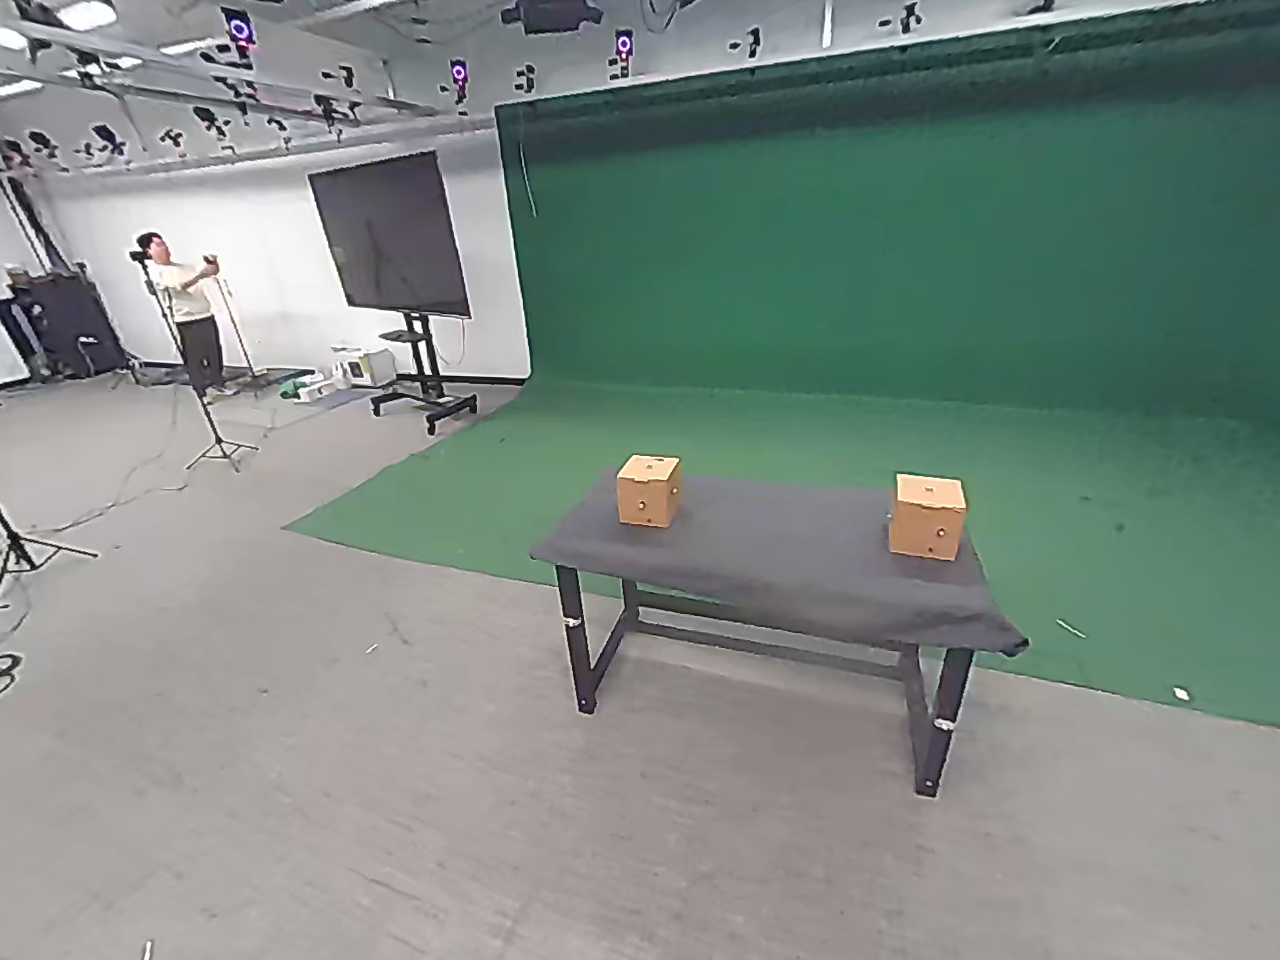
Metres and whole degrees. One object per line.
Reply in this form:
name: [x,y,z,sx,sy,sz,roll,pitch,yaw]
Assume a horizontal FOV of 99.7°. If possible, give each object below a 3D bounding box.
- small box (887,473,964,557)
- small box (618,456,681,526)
small box: [0.805,0.099,1.534,0.168,0.176,0.179,8,27,21]
small box: [0.038,0.034,1.779,0.168,0.176,0.179,5,28,17]
